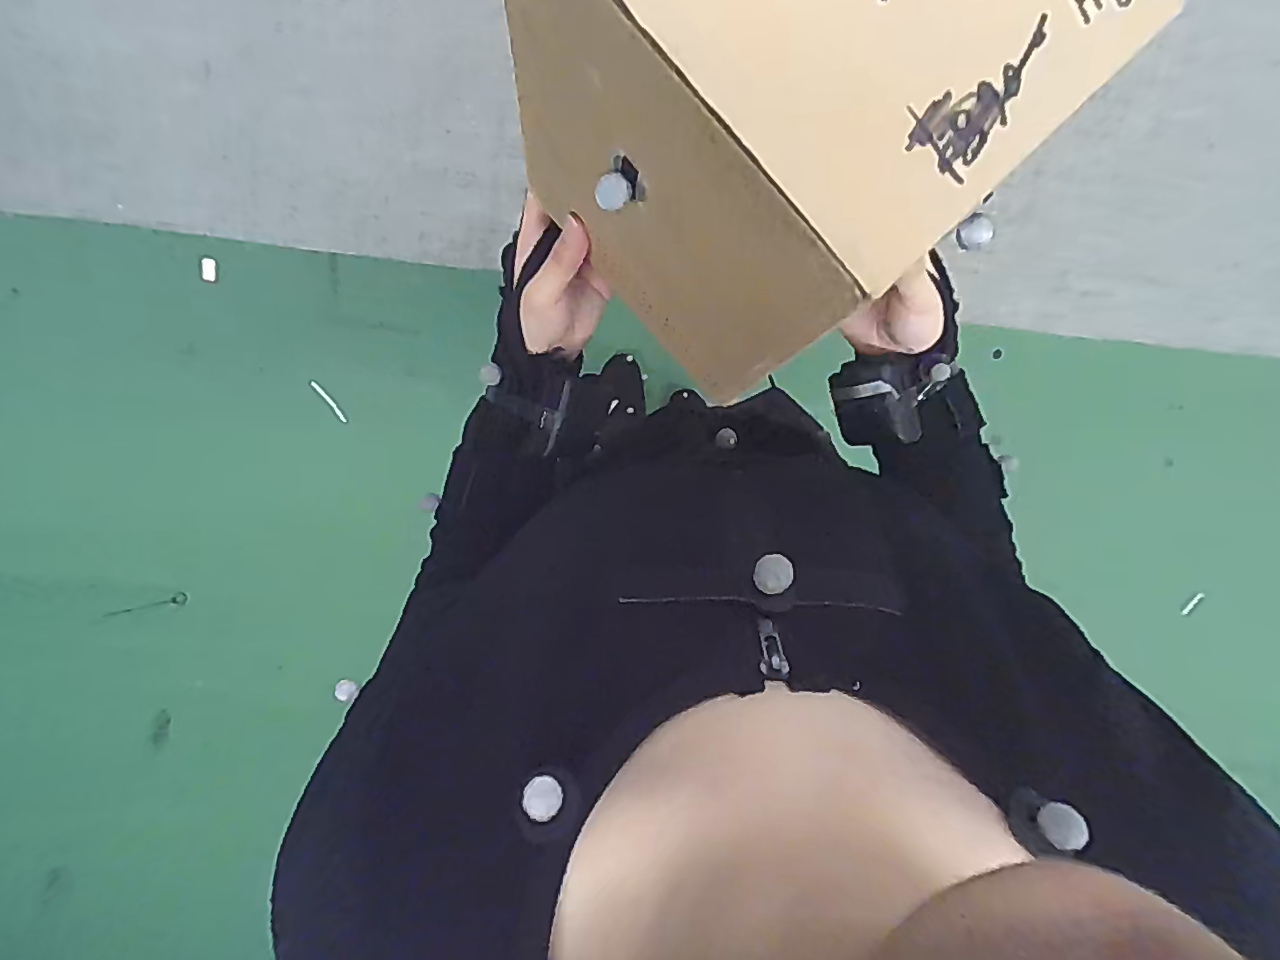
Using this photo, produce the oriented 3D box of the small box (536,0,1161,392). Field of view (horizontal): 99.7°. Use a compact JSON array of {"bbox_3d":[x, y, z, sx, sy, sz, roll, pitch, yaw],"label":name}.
[{"bbox_3d":[0.063,-0.169,0.262,0.168,0.176,0.179,-43,91,-7],"label":"small box"}]
